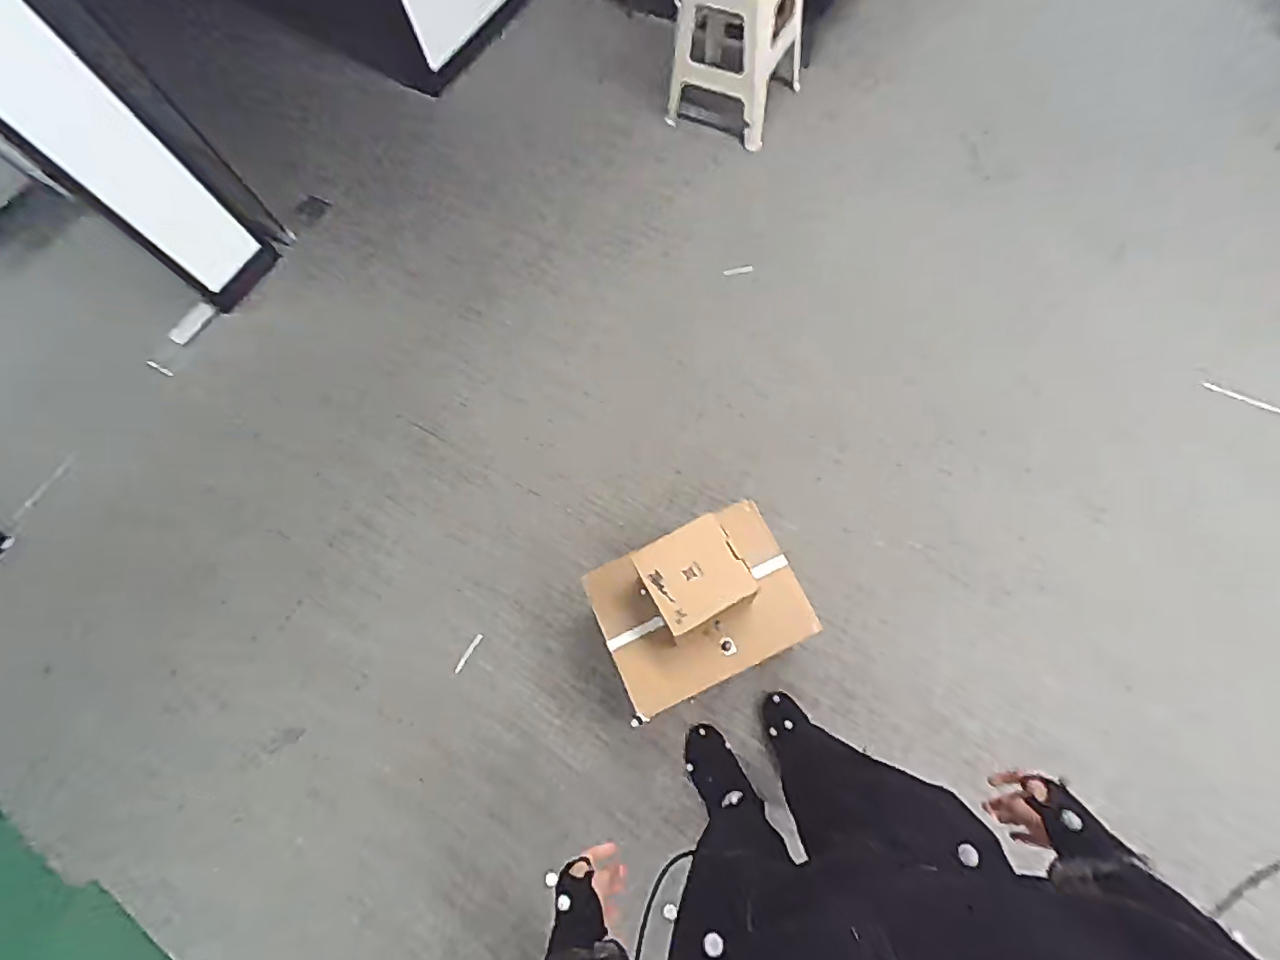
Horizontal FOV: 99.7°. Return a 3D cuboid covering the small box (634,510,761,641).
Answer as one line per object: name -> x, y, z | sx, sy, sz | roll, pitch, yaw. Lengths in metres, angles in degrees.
small box -> 0.103, 0.187, 1.025 | 0.179, 0.176, 0.168 | -28, 67, -7
